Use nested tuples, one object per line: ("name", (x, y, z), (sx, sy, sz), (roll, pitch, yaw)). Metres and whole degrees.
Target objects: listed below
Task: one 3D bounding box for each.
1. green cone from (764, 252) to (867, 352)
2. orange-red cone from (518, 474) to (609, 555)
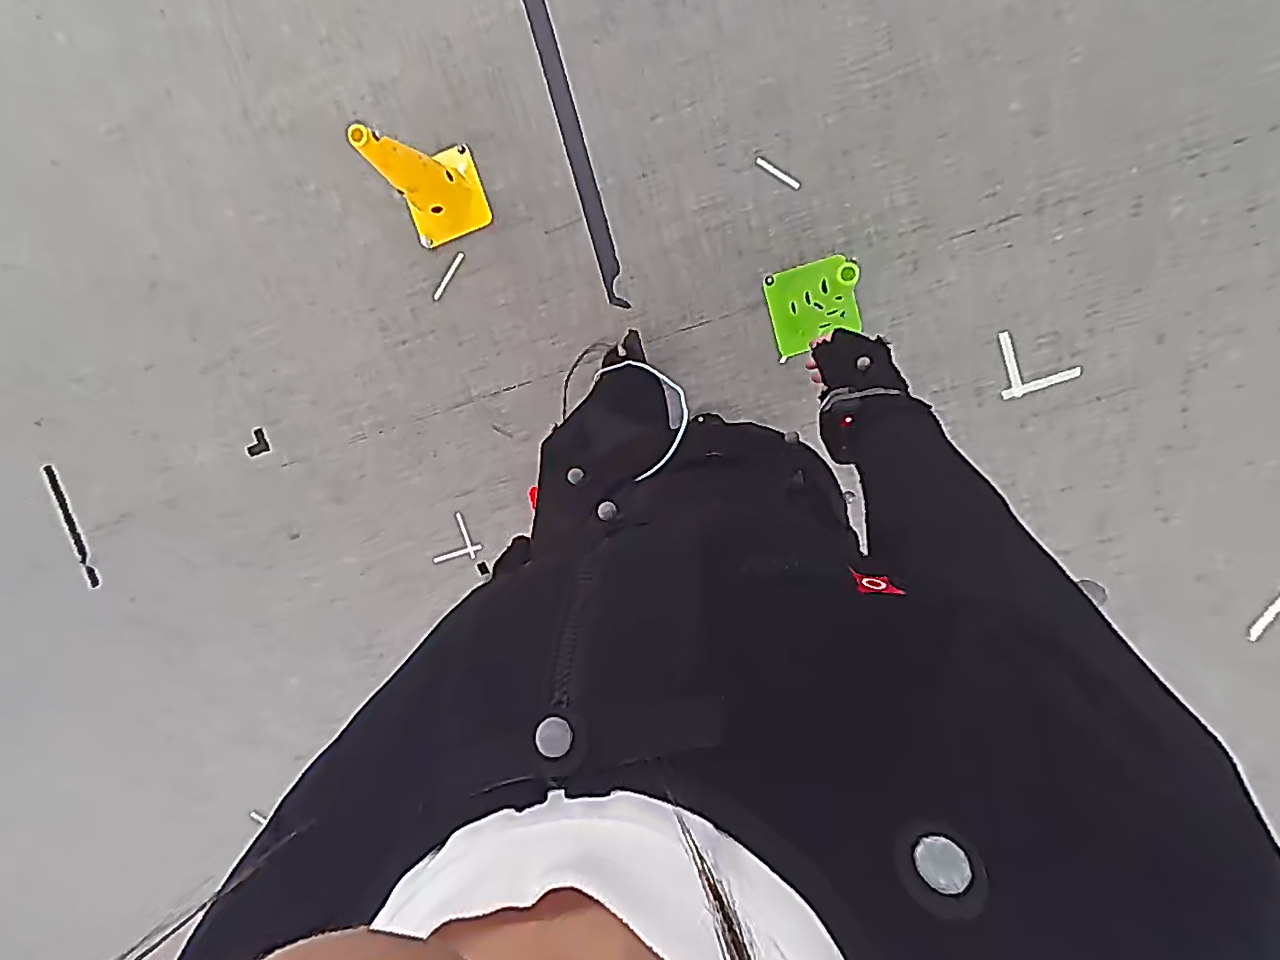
("green cone", (0.396, -0.397, 1.130), (0.202, 0.368, 0.200), (-15, 97, 8))
("orange-red cone", (-0.214, 0.116, 1.298), (0.199, 0.360, 0.198), (-11, 96, 10))
